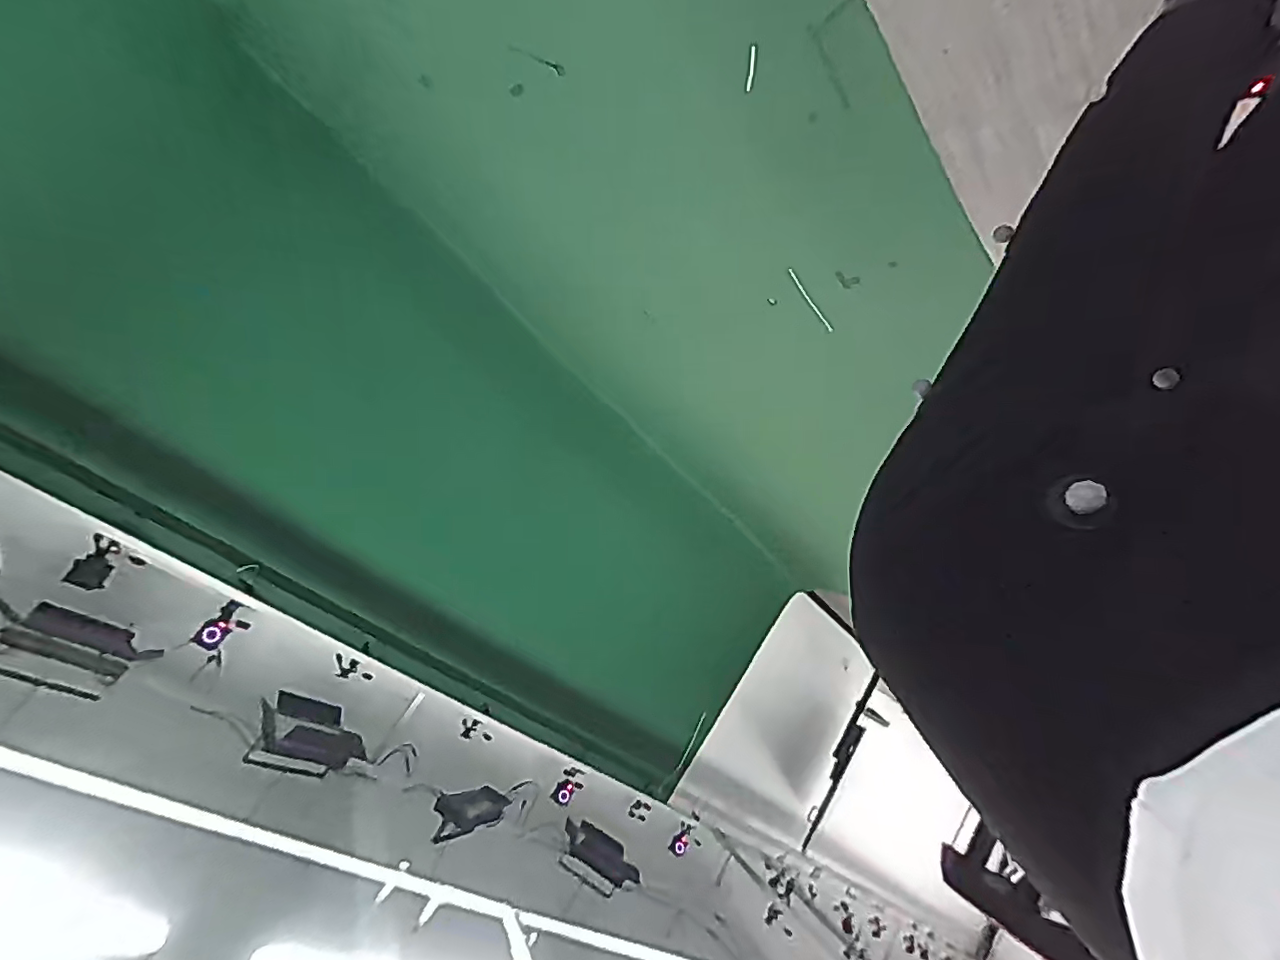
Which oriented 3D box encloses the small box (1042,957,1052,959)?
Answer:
[{"bbox_3d":[1.194,1.465,1.481,0.179,0.176,0.168,40,166,-29],"label":"small box"}]
